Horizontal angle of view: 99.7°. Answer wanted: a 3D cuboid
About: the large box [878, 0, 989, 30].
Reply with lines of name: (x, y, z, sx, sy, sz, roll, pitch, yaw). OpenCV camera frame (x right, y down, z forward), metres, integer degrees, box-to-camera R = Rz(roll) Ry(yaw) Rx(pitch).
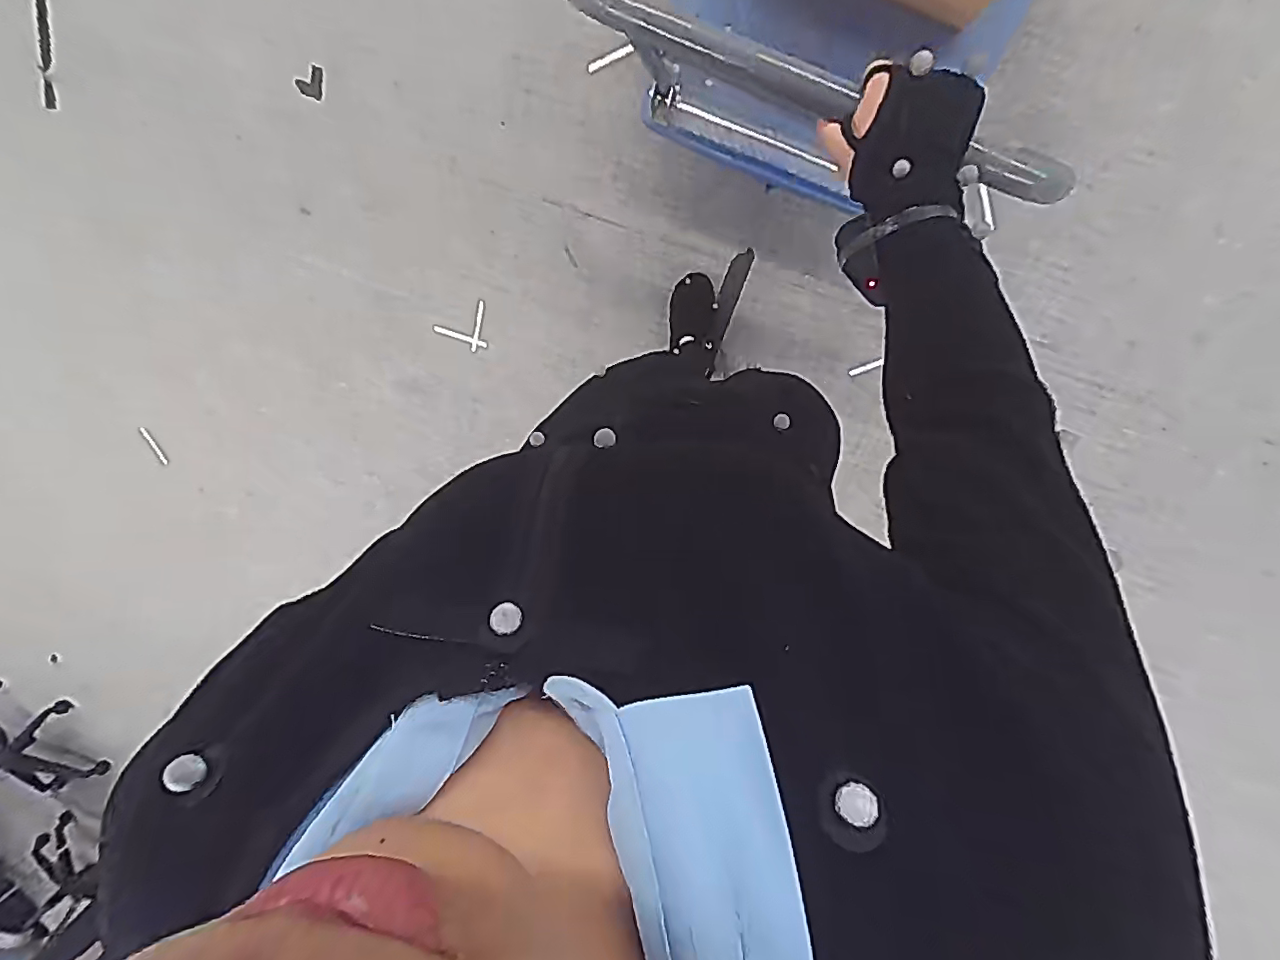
large box: (0.403, -0.933, 0.761, 0.408, 0.320, 0.320, 24, 114, 1)
